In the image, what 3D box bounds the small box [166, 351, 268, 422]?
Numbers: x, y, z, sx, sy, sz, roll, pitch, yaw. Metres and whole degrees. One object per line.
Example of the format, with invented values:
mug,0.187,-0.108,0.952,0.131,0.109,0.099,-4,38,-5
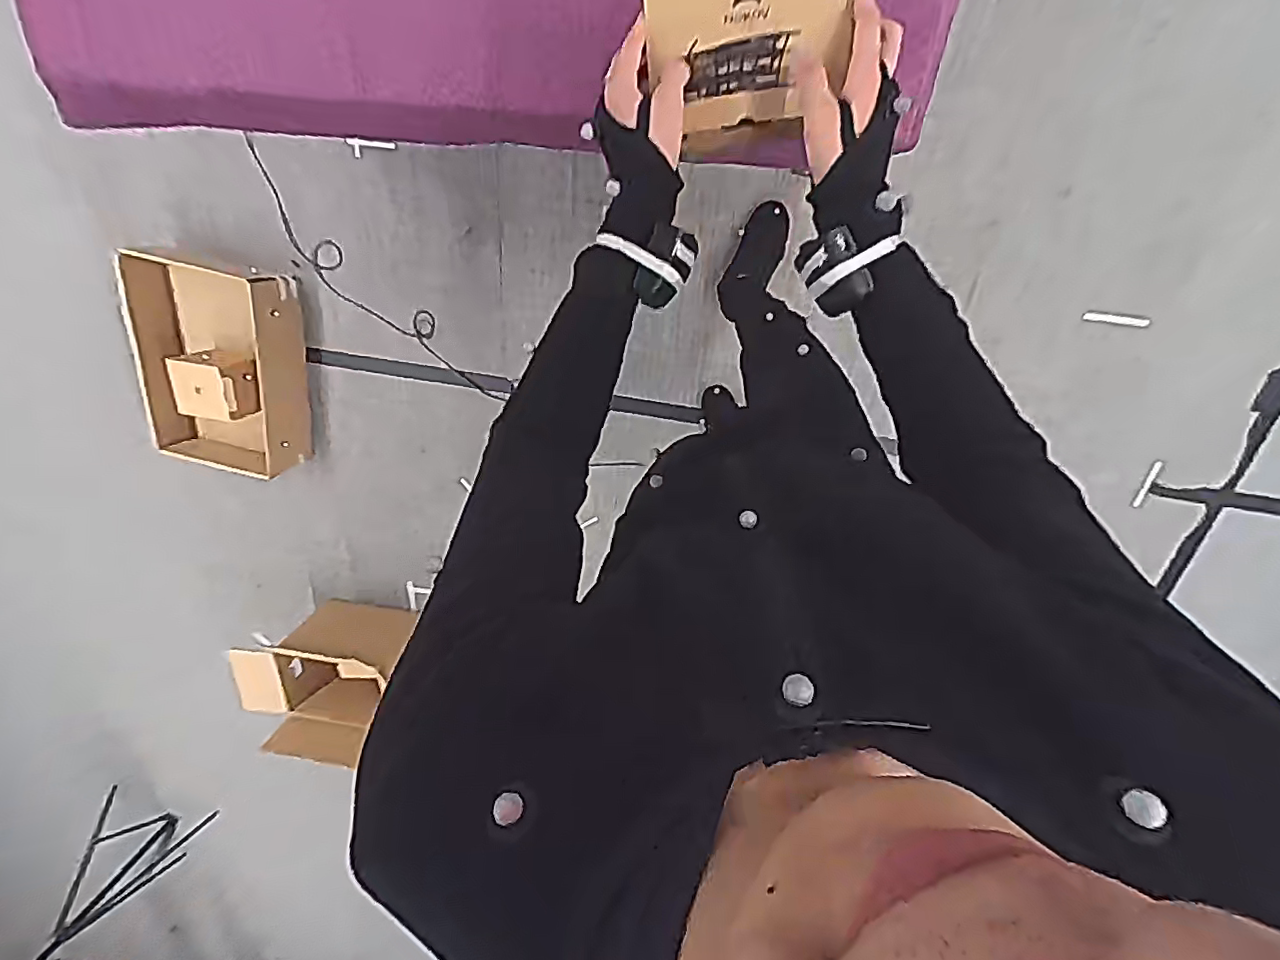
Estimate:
small box,-1.267,-0.289,1.639,0.179,0.176,0.168,9,114,5
